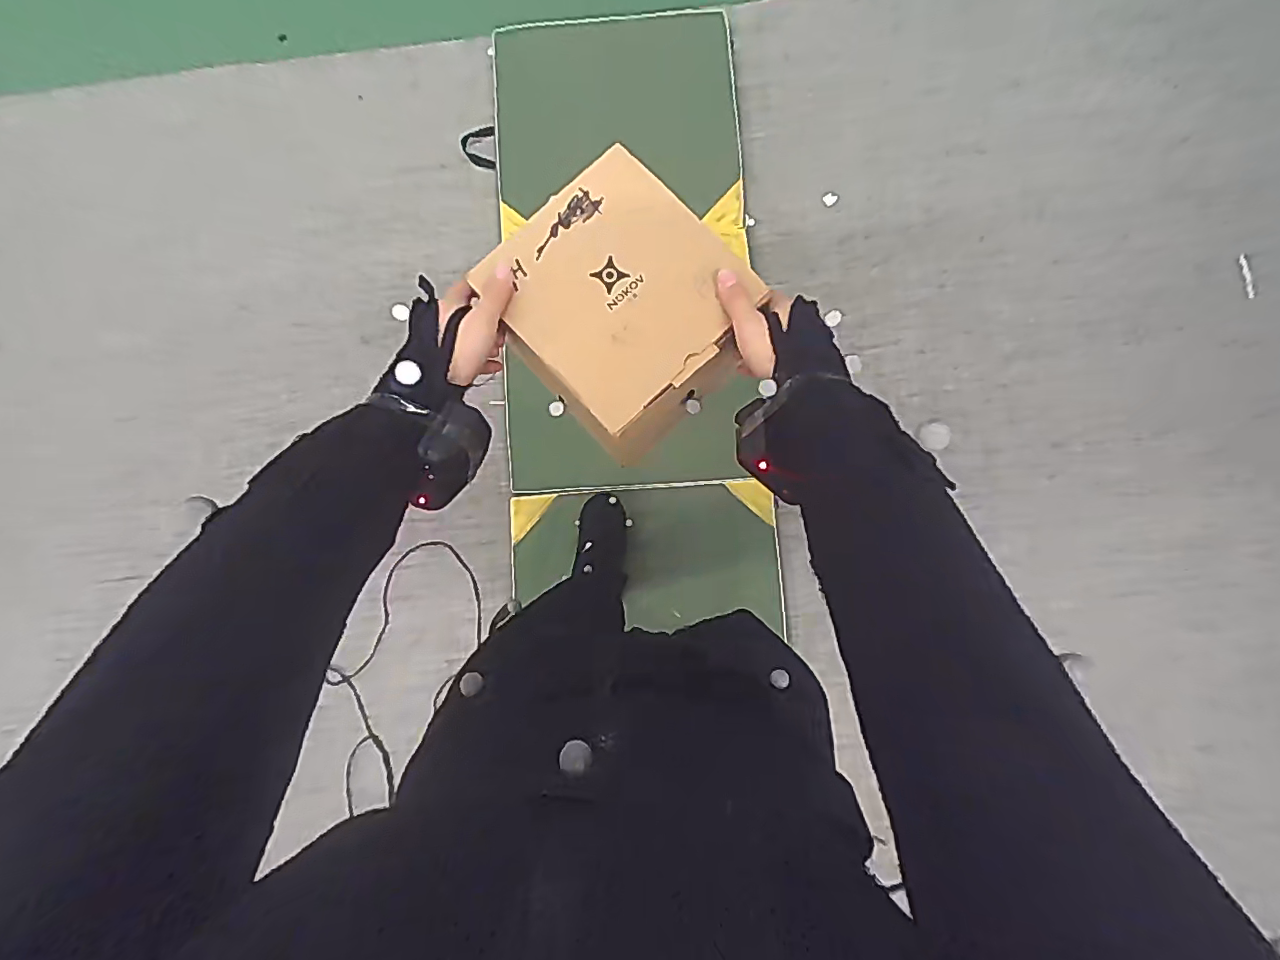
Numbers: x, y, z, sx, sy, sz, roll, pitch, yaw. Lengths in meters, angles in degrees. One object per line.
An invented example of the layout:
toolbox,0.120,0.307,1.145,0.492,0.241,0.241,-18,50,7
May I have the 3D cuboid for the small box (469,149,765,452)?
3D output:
small box,-0.017,-0.141,0.498,0.168,0.176,0.179,-43,85,-5
